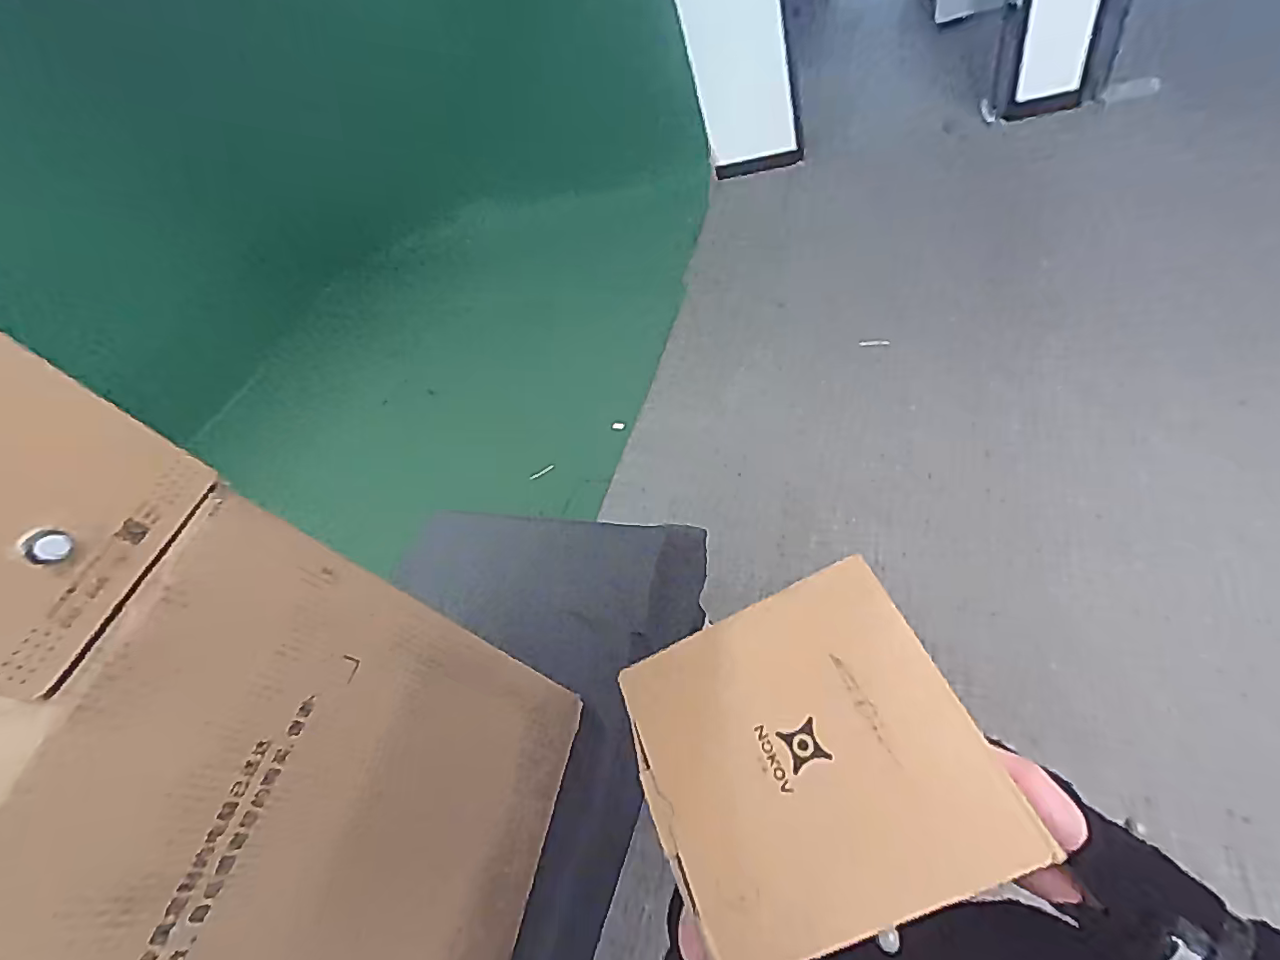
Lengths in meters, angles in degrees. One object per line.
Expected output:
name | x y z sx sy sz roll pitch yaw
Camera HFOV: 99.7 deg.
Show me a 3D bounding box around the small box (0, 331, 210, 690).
small box | -0.433 0.013 0.330 0.179 0.176 0.168 1 56 24
